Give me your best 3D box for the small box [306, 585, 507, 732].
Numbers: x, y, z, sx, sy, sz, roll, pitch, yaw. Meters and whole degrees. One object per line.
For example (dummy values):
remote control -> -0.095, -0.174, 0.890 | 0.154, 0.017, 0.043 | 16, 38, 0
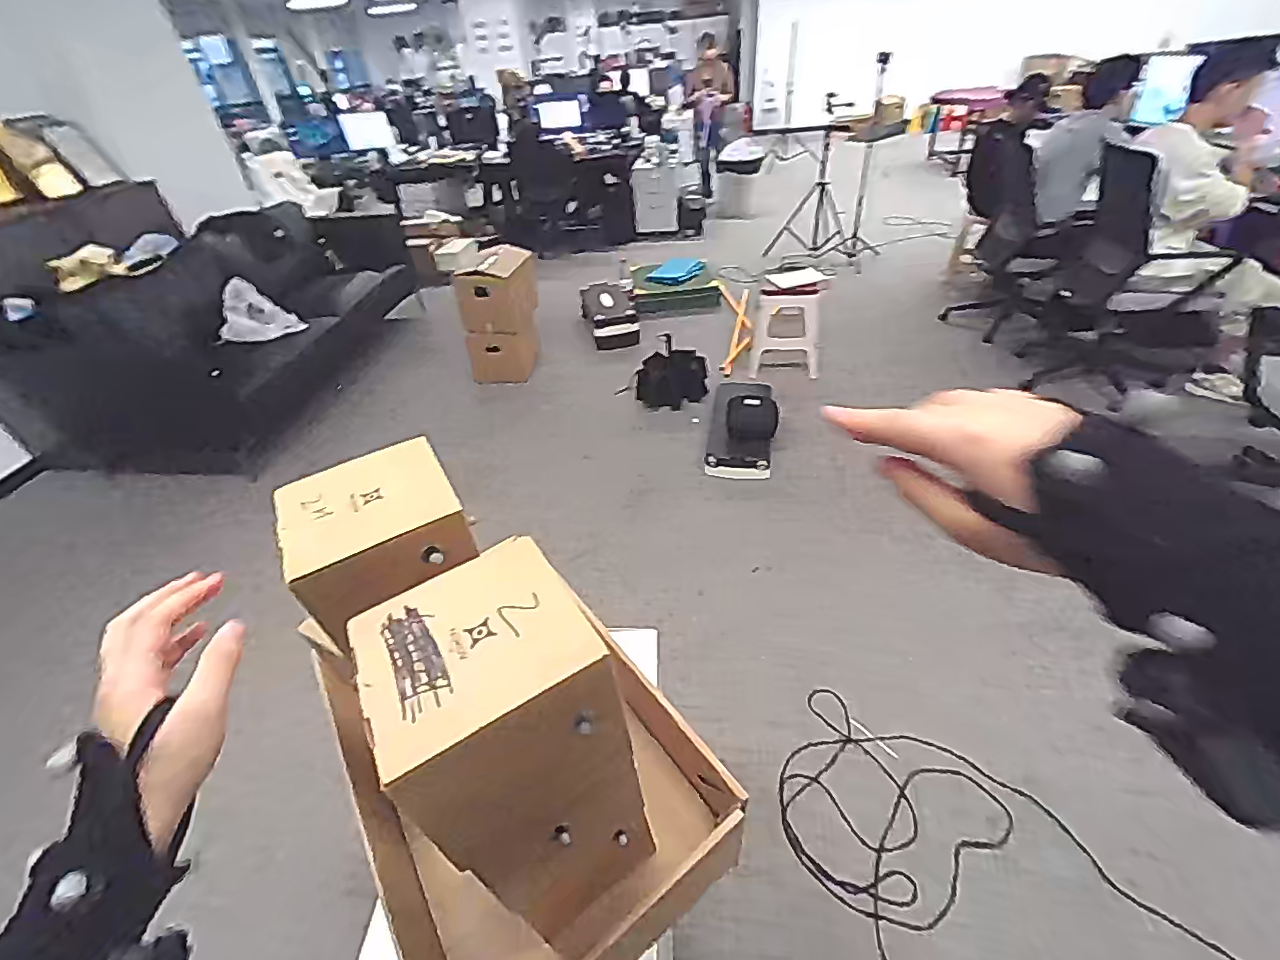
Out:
small box -> -0.308, 0.219, 0.759 | 0.168, 0.176, 0.179 | 15, 46, 24

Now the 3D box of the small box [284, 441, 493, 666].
small box -> -0.295, 0.086, 0.658 | 0.179, 0.176, 0.168 | -25, 43, -20

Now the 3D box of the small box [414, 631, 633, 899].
small box -> -0.121, 0.315, 0.610 | 0.179, 0.176, 0.168 | -28, 42, -23
